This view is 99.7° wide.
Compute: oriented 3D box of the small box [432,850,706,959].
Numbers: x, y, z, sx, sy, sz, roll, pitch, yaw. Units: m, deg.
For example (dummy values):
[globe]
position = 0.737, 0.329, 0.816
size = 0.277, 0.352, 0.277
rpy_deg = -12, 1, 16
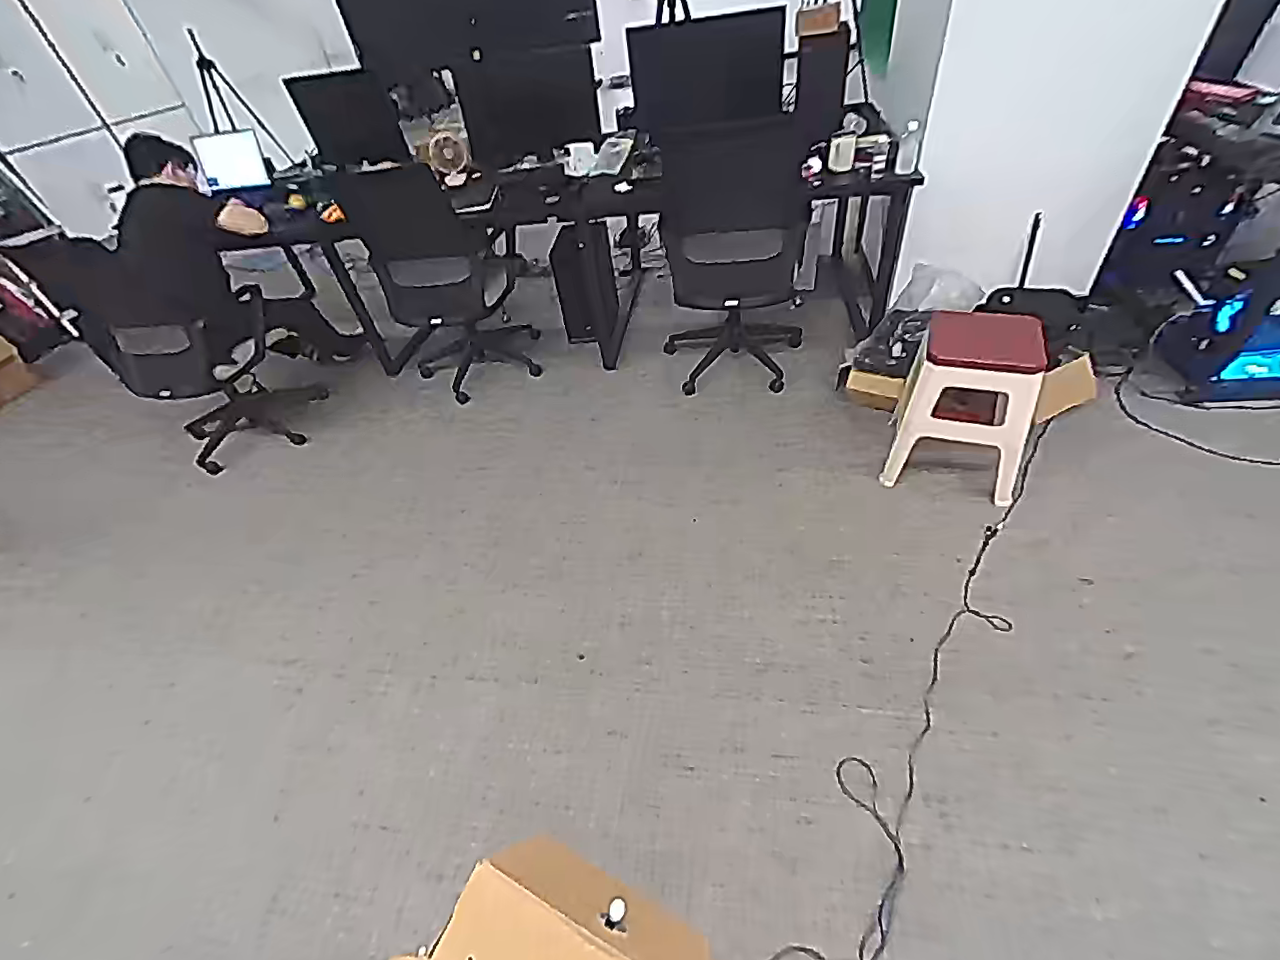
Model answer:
[small box]
position = -0.058, 0.386, 0.370
size = 0.179, 0.176, 0.168
rpy_deg = 22, 65, 16
